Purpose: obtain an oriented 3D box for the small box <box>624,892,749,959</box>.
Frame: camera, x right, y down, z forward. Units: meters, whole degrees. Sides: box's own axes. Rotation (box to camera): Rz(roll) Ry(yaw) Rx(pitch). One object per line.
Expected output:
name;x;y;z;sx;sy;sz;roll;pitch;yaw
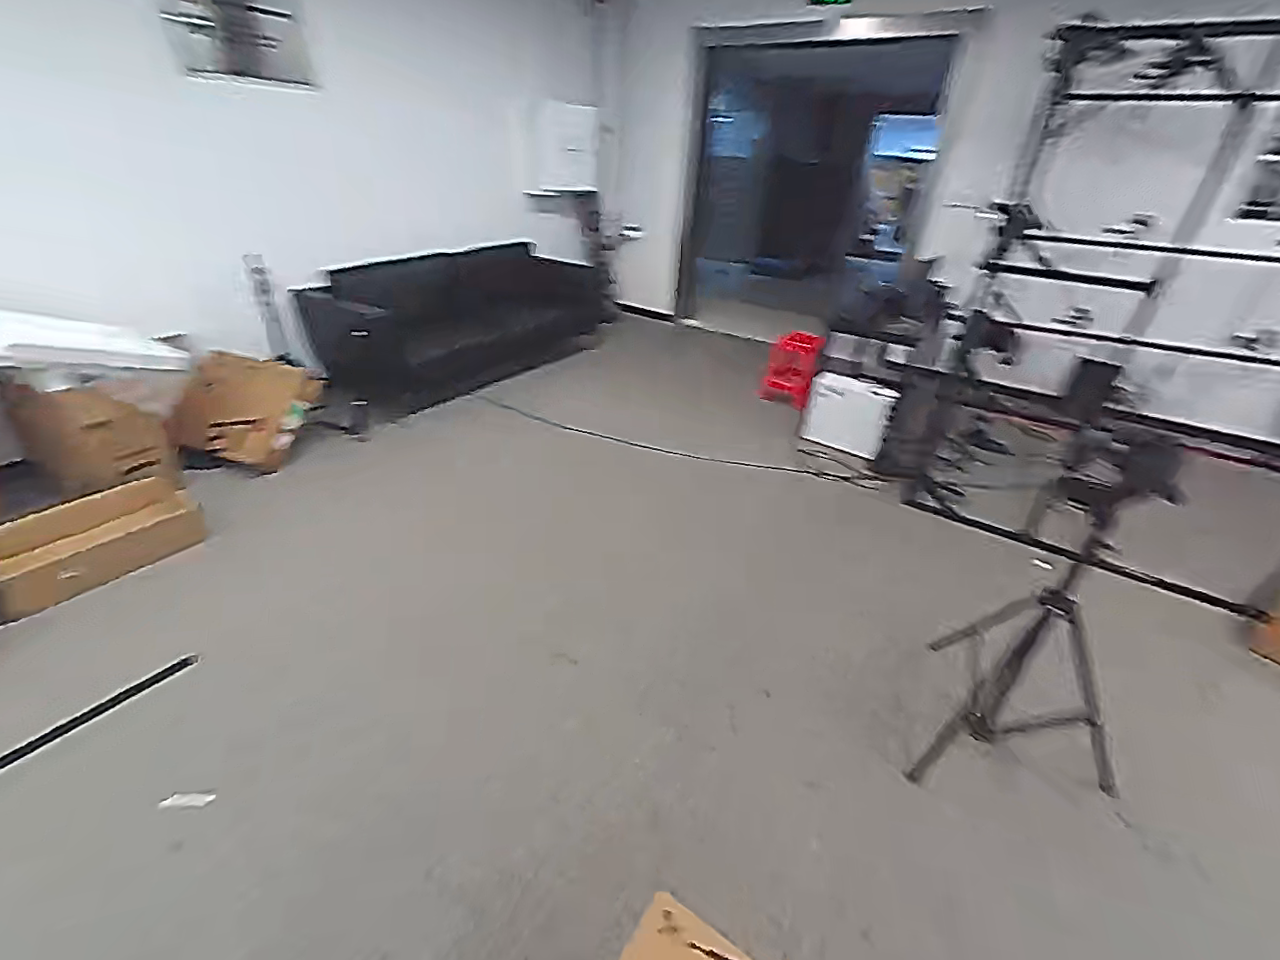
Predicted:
small box;0.045;0.603;0.566;0.168;0.176;0.179;21;38;28
